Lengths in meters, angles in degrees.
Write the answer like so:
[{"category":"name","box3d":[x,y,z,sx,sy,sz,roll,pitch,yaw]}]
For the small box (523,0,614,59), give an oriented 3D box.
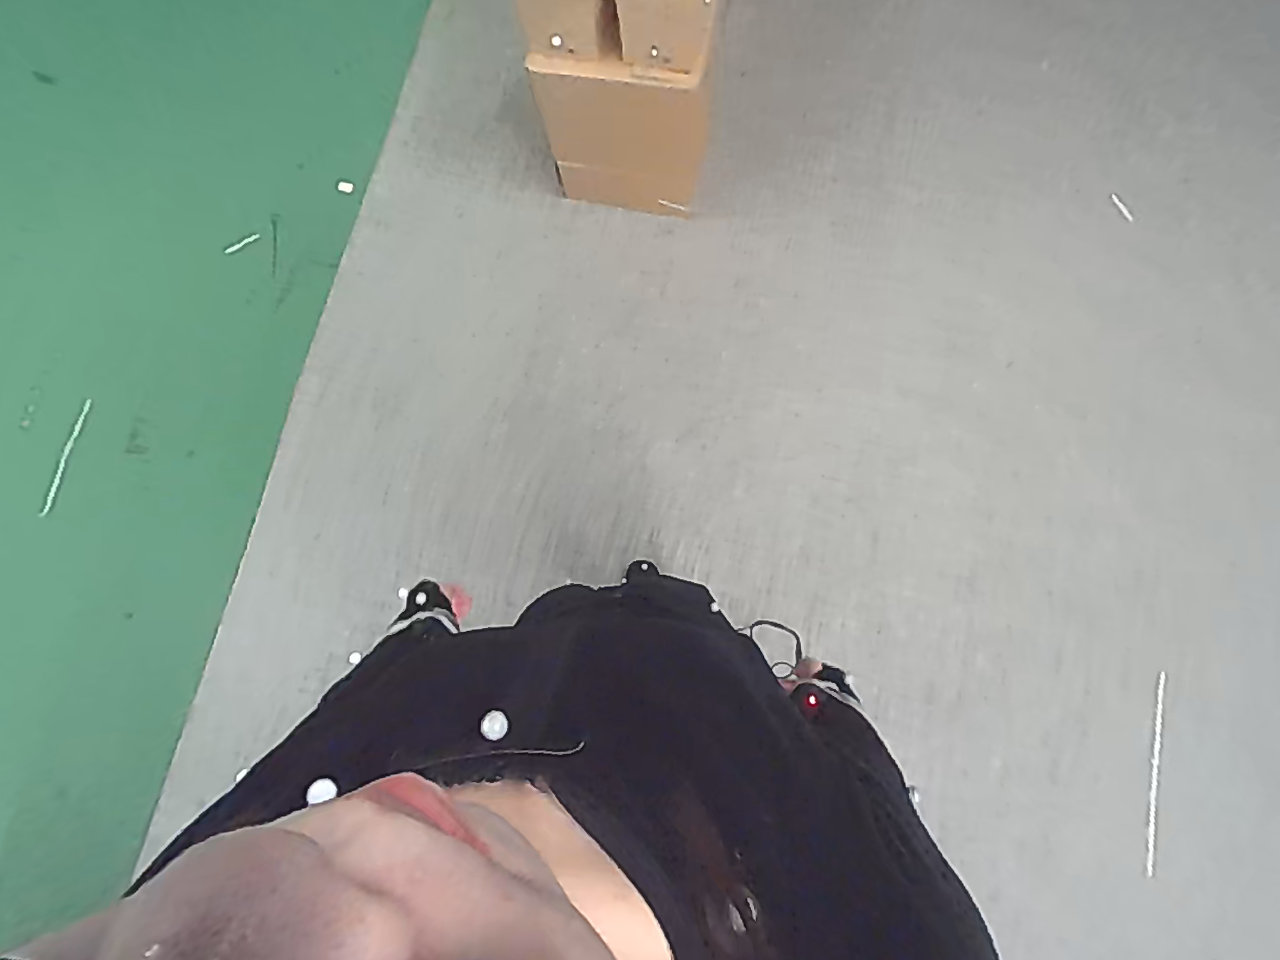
[{"category":"small box","box3d":[-0.157,-1.080,1.180,0.168,0.176,0.179,13,84,4]}]
